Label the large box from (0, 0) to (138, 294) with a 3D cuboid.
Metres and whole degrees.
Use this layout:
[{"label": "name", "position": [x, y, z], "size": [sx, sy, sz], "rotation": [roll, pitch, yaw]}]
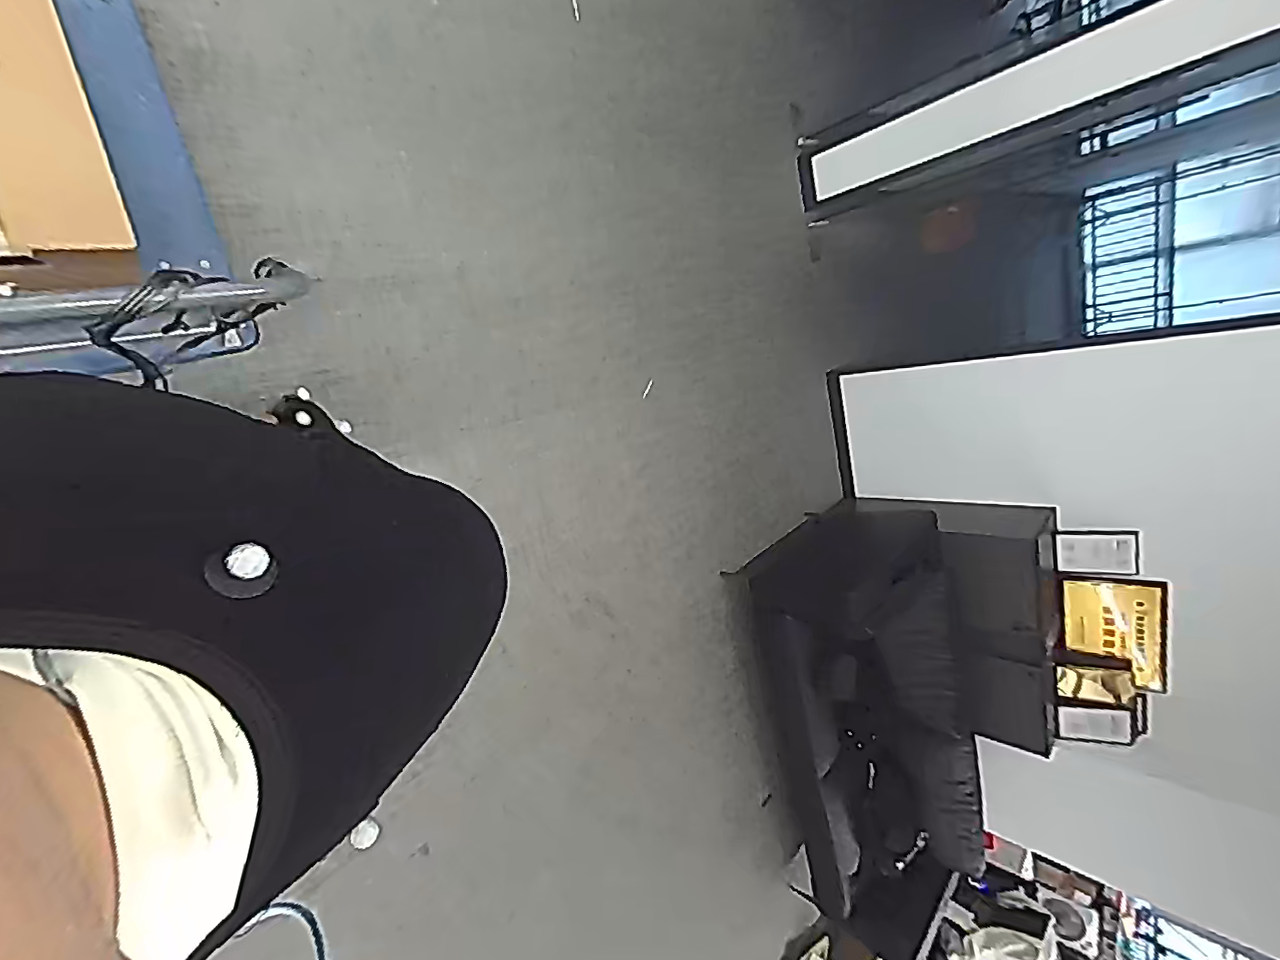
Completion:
[{"label": "large box", "position": [-1.059, -0.528, 0.843], "size": [0.320, 0.320, 0.408], "rotation": [-21, 106, -41]}]
